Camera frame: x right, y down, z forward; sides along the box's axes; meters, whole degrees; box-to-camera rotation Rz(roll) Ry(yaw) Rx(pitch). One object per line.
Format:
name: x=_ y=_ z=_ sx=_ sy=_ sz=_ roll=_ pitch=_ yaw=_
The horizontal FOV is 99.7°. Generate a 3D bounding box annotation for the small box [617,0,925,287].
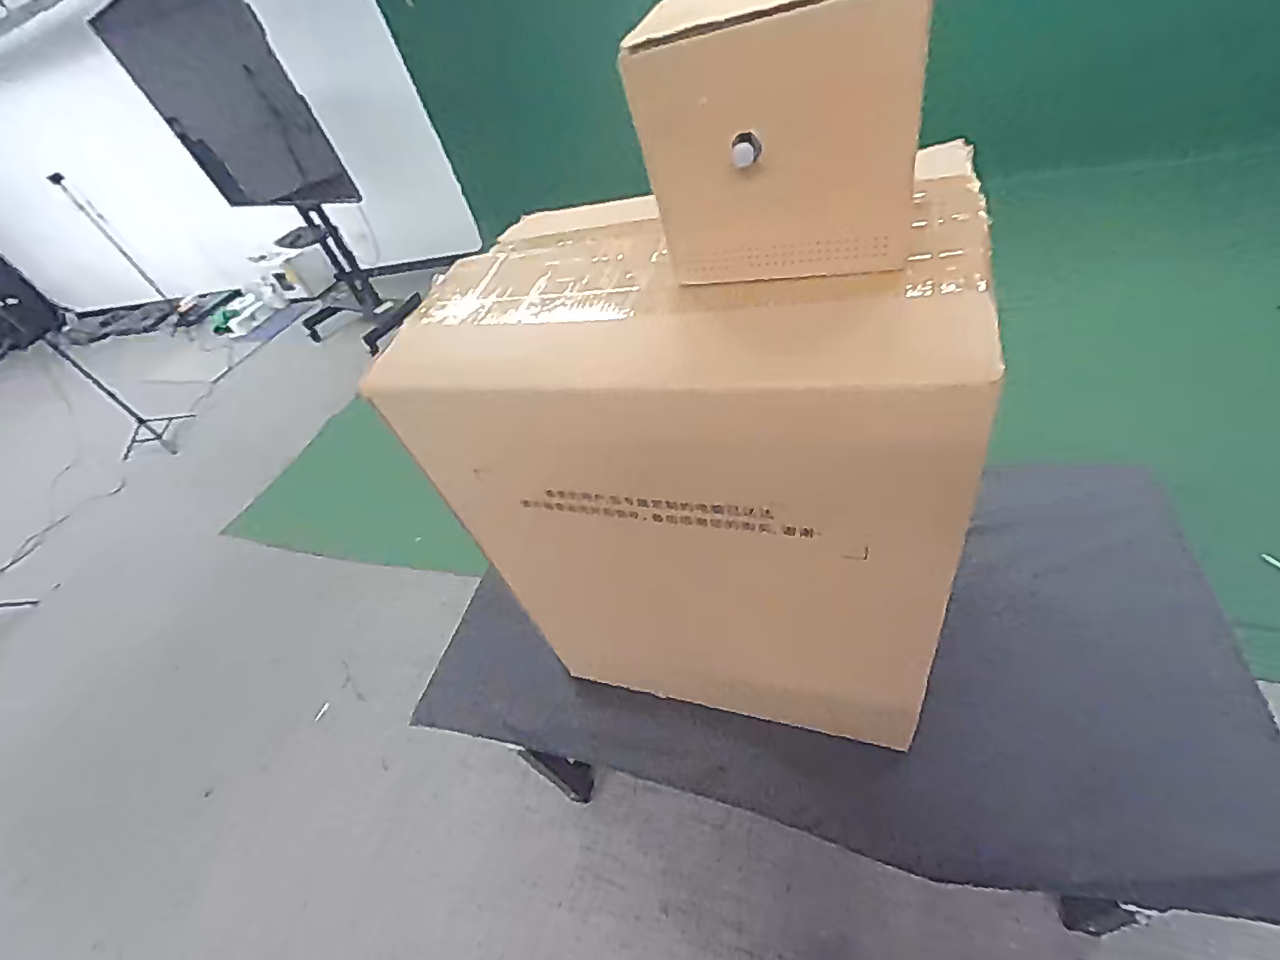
small box: x=0.110 y=-0.264 z=0.406 sx=0.179 sy=0.176 sz=0.168 roll=4 pitch=55 yaw=24
